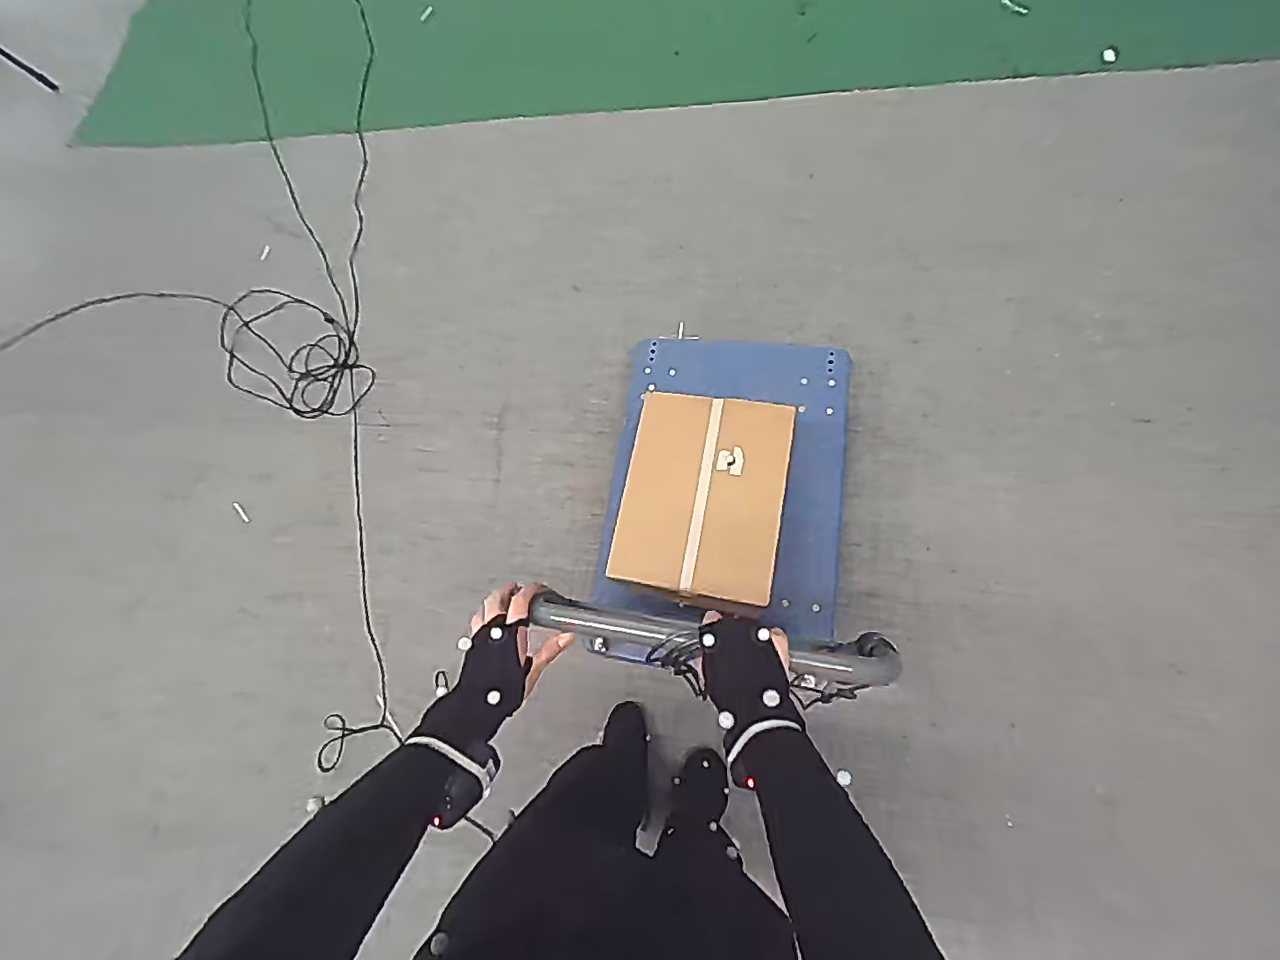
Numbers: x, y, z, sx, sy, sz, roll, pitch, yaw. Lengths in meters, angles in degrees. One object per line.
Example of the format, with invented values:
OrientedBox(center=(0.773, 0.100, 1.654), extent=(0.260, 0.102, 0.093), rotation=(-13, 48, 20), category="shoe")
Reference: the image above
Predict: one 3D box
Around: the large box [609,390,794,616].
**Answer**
OrientedBox(center=(0.148, 0.064, 1.195), extent=(0.320, 0.320, 0.408), rotation=(9, 73, 12), category="large box")
